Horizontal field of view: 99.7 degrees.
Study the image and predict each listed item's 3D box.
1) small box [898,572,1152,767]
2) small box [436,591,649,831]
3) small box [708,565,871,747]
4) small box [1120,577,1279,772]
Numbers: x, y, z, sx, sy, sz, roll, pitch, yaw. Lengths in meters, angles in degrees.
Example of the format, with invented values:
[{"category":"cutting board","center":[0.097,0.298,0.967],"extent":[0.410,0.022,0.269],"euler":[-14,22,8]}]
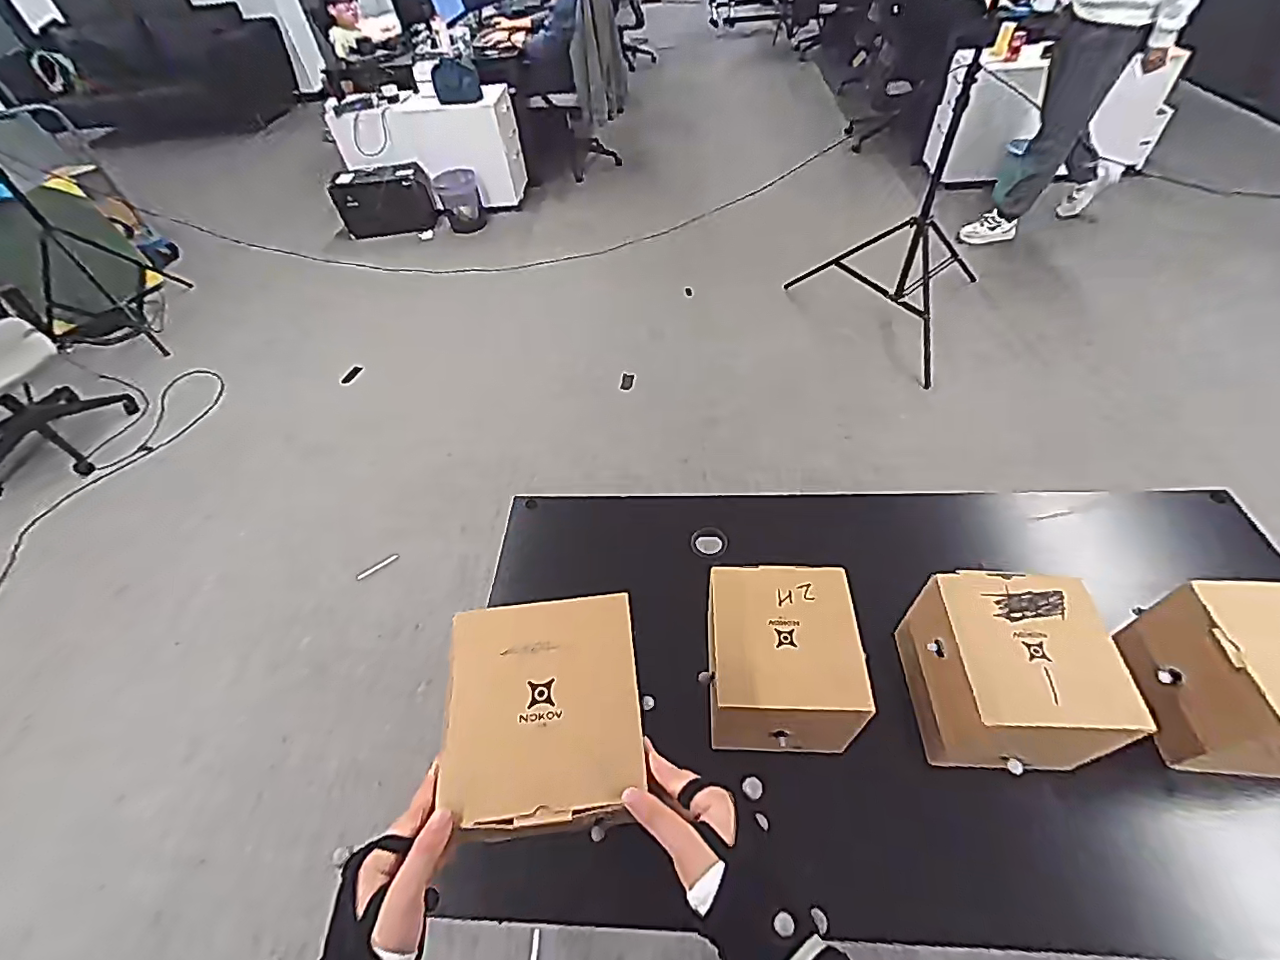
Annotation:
[{"category":"small box","center":[0.436,0.229,0.655],"extent":[0.168,0.176,0.179],"euler":[-1,50,5]},{"category":"small box","center":[-0.081,0.229,0.523],"extent":[0.168,0.176,0.179],"euler":[-6,54,-4]},{"category":"small box","center":[0.172,0.225,0.684],"extent":[0.168,0.176,0.179],"euler":[-1,49,5]},{"category":"small box","center":[0.716,0.228,0.628],"extent":[0.179,0.176,0.168],"euler":[1,50,8]}]
